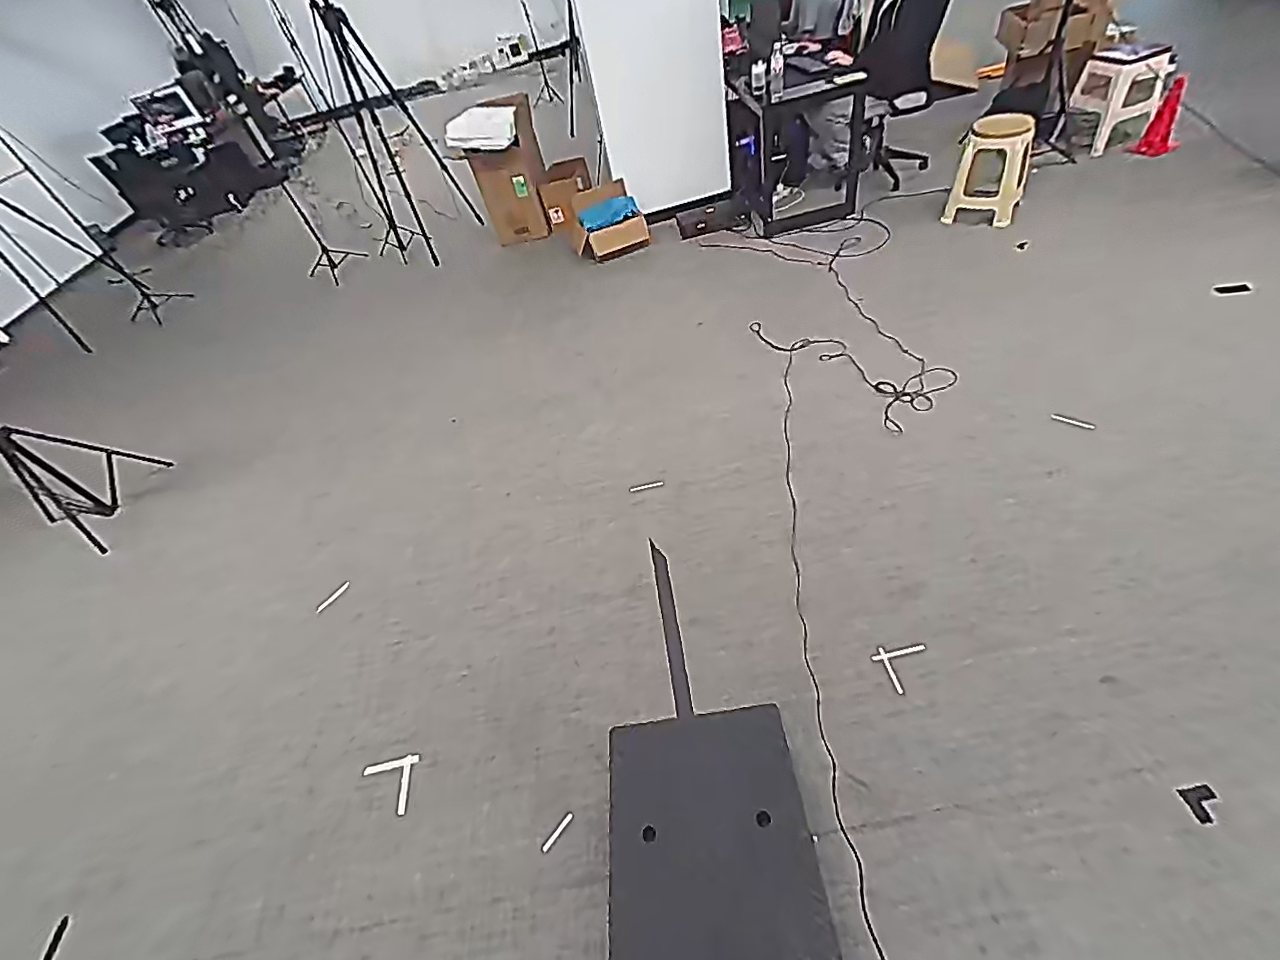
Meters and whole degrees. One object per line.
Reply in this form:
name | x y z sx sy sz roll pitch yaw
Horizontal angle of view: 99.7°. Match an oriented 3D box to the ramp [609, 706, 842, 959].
ramp | 0.169 0.984 1.162 0.509 0.206 0.991 -13 45 5
